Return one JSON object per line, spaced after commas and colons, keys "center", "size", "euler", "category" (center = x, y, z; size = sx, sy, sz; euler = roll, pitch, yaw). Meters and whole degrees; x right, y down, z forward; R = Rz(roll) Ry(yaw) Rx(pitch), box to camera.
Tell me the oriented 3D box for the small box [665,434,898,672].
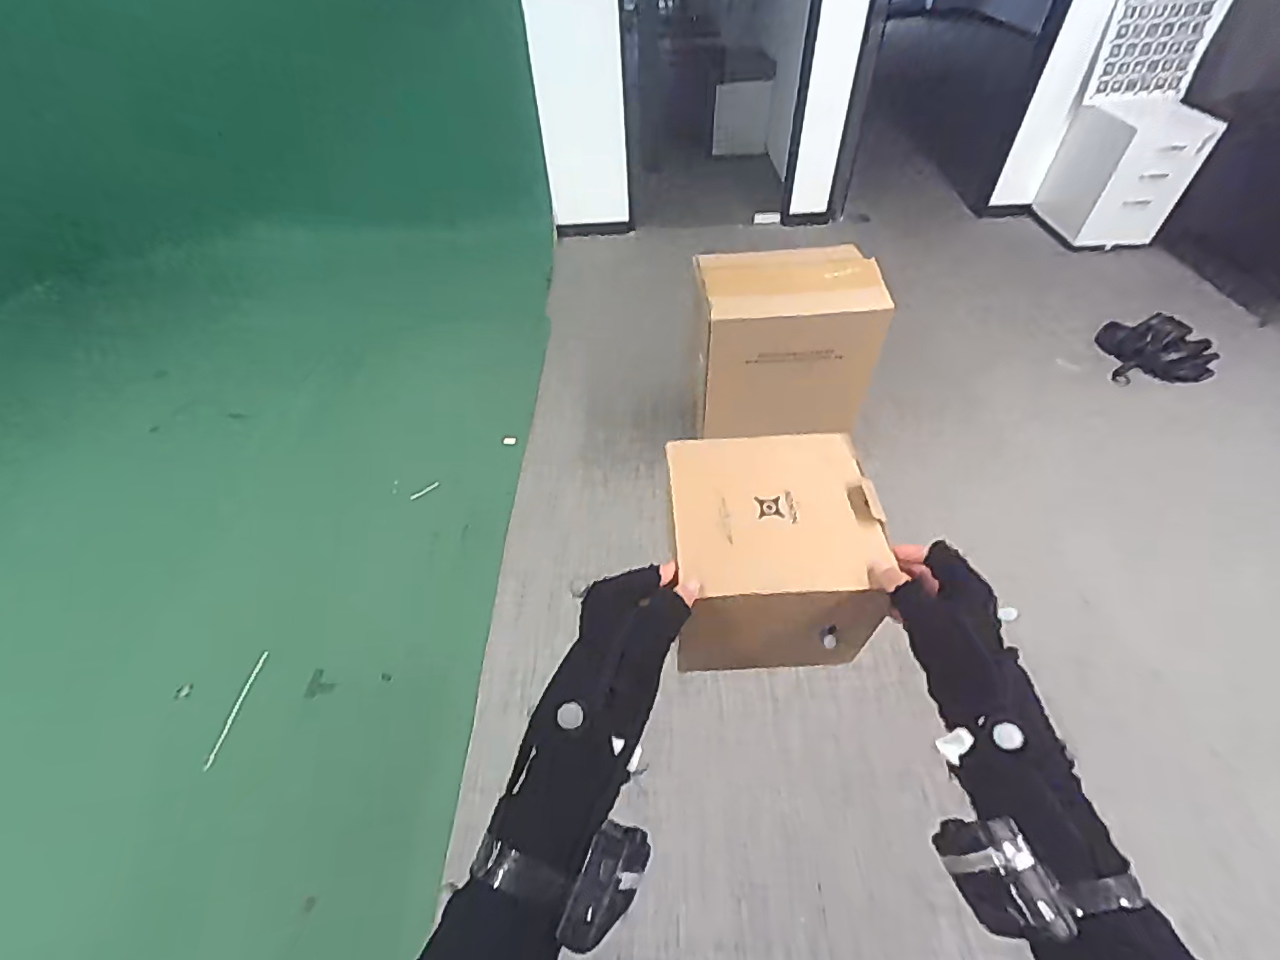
{"center": [0.117, 0.076, 0.531], "size": [0.179, 0.176, 0.168], "euler": [-5, 50, 1], "category": "small box"}
